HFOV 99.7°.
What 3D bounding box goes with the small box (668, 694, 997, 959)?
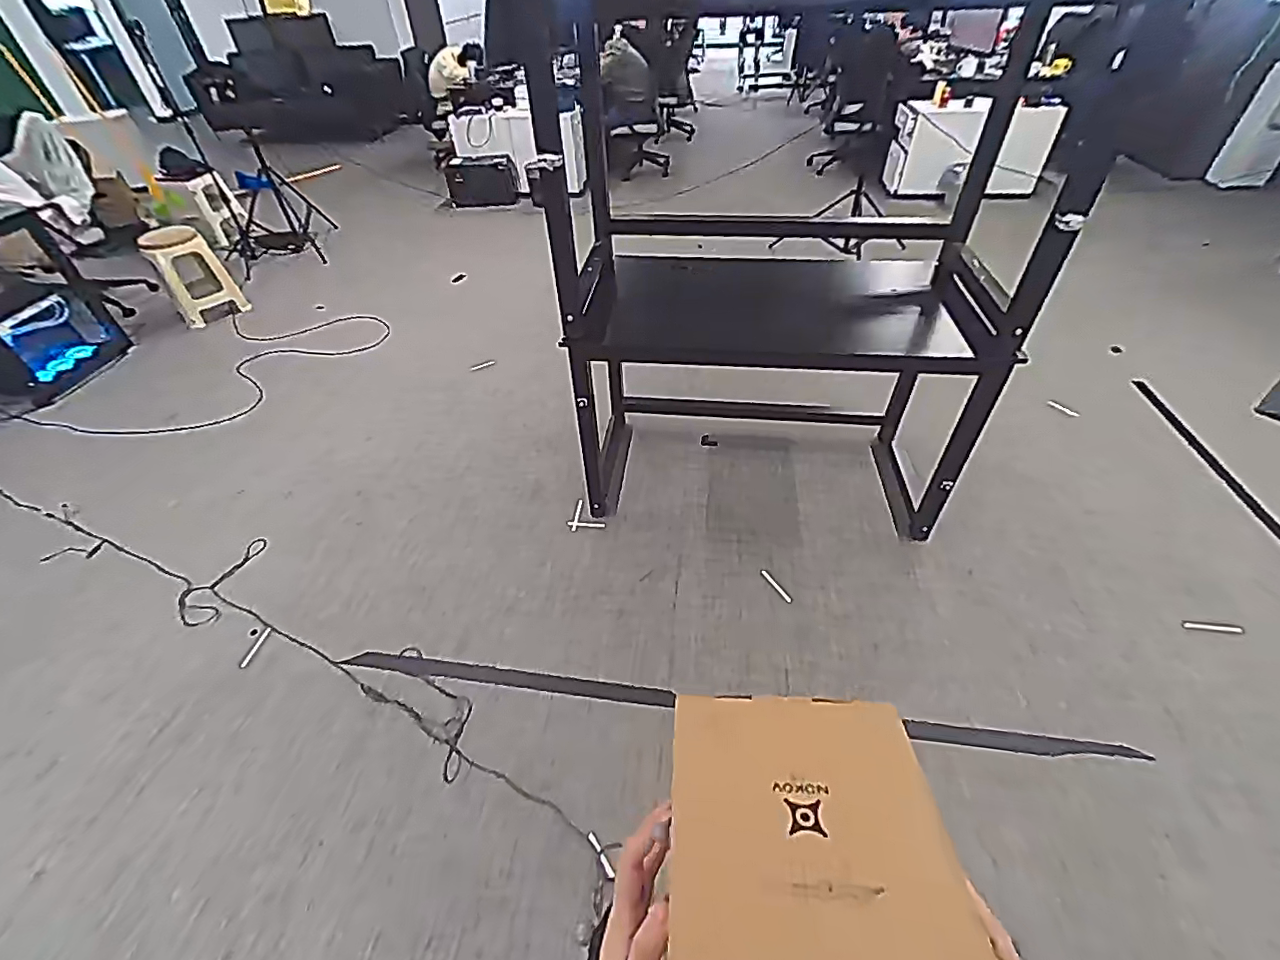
[{"bbox_3d":[0.104,0.278,0.373,0.168,0.176,0.179,0,28,5],"label":"small box"}]
